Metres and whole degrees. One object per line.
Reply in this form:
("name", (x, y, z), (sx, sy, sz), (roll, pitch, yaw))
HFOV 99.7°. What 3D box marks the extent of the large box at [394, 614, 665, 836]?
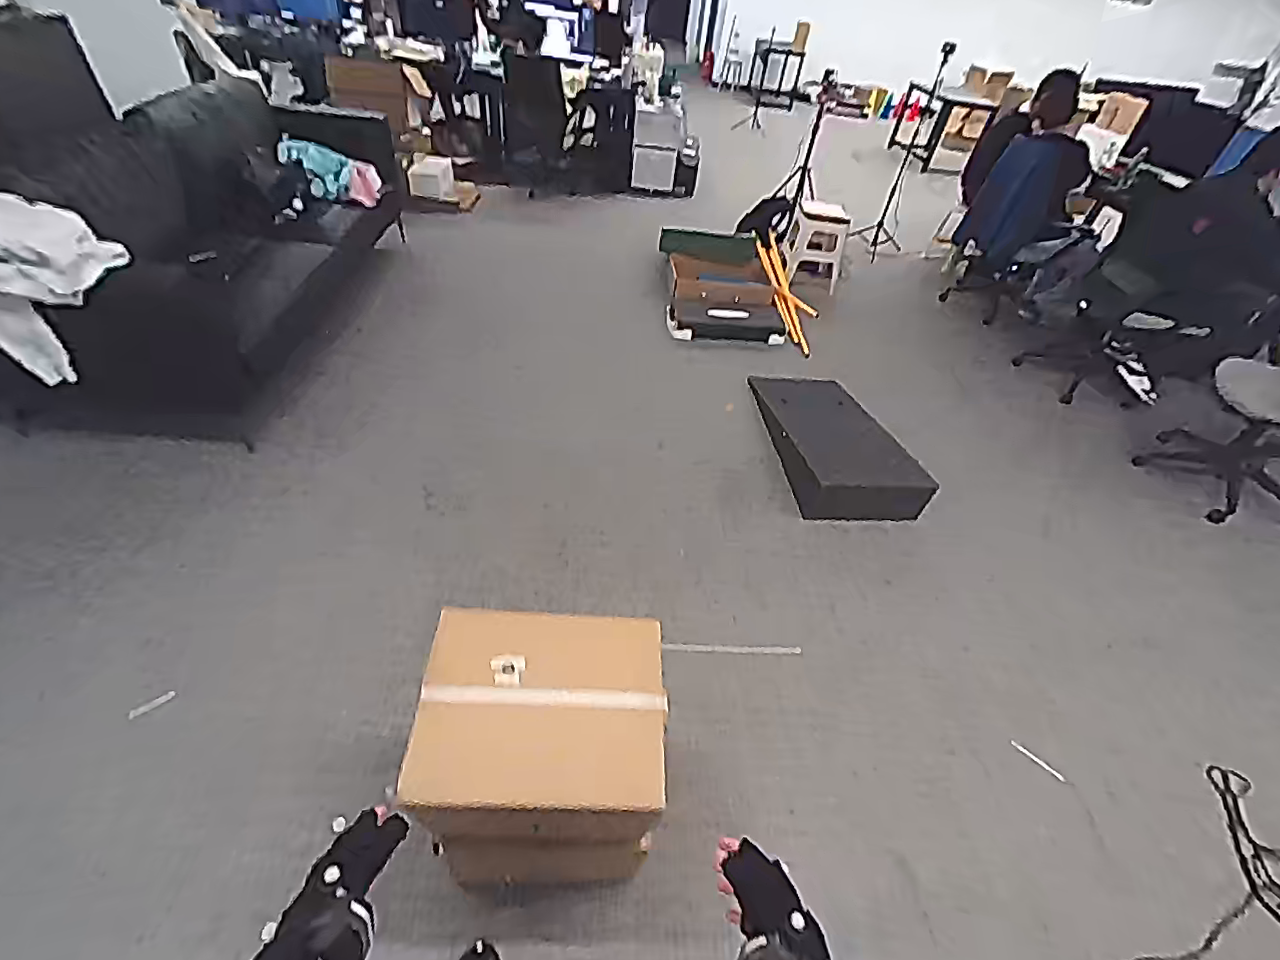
("large box", (-0.174, 0.463, 1.004), (0.408, 0.320, 0.320), (3, 49, -4))
